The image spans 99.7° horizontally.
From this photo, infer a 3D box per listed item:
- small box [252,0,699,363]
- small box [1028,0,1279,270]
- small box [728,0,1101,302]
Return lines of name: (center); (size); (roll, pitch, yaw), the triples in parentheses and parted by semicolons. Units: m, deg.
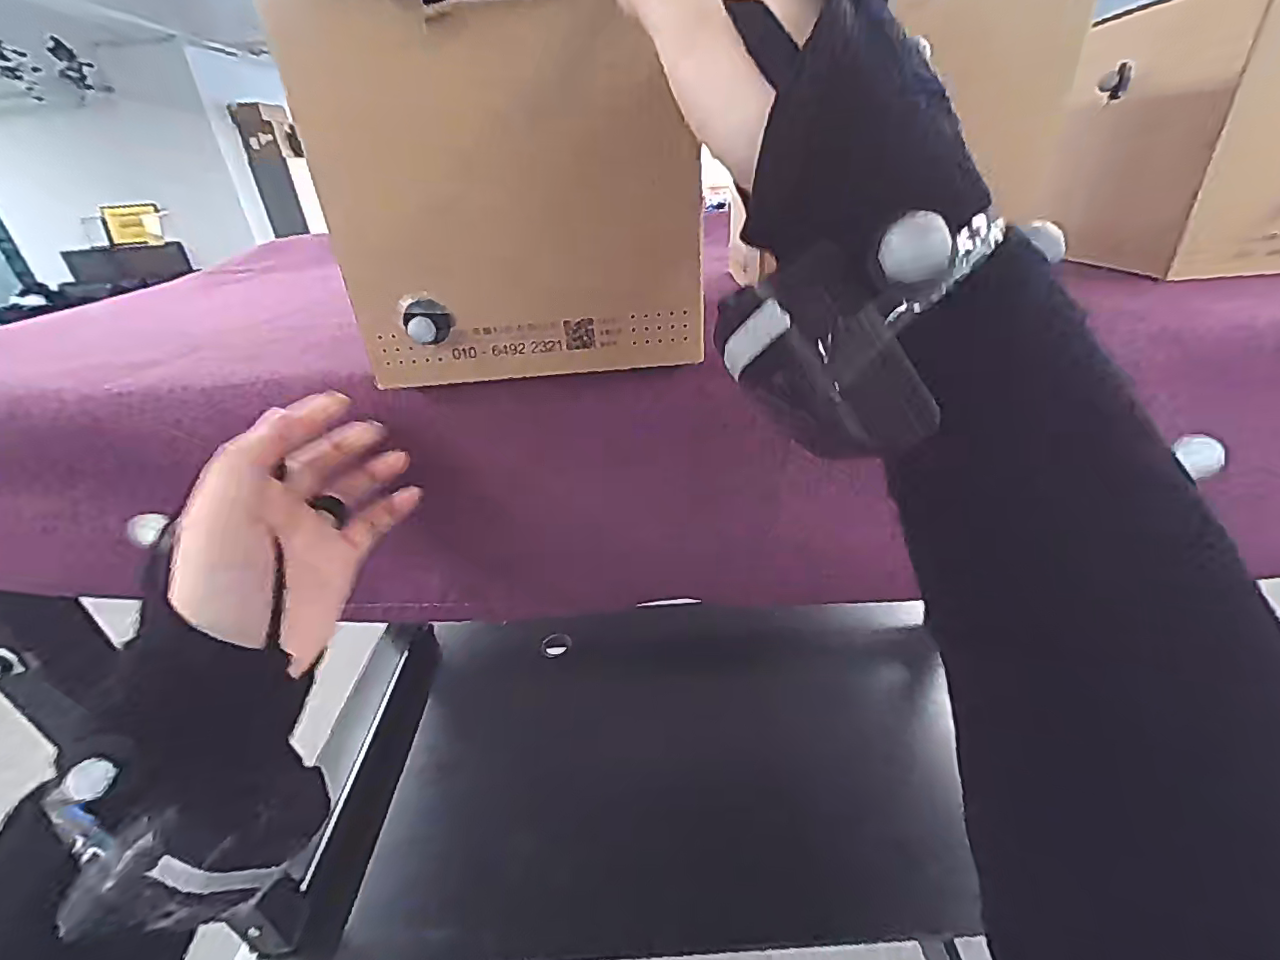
small box: (-0.060, -0.167, 0.301); (0.168, 0.176, 0.179); (-5, 29, -2)
small box: (0.432, -0.253, 0.396); (0.168, 0.176, 0.179); (-3, 29, 3)
small box: (0.163, -0.232, 0.392); (0.179, 0.176, 0.168); (-1, 29, 2)
